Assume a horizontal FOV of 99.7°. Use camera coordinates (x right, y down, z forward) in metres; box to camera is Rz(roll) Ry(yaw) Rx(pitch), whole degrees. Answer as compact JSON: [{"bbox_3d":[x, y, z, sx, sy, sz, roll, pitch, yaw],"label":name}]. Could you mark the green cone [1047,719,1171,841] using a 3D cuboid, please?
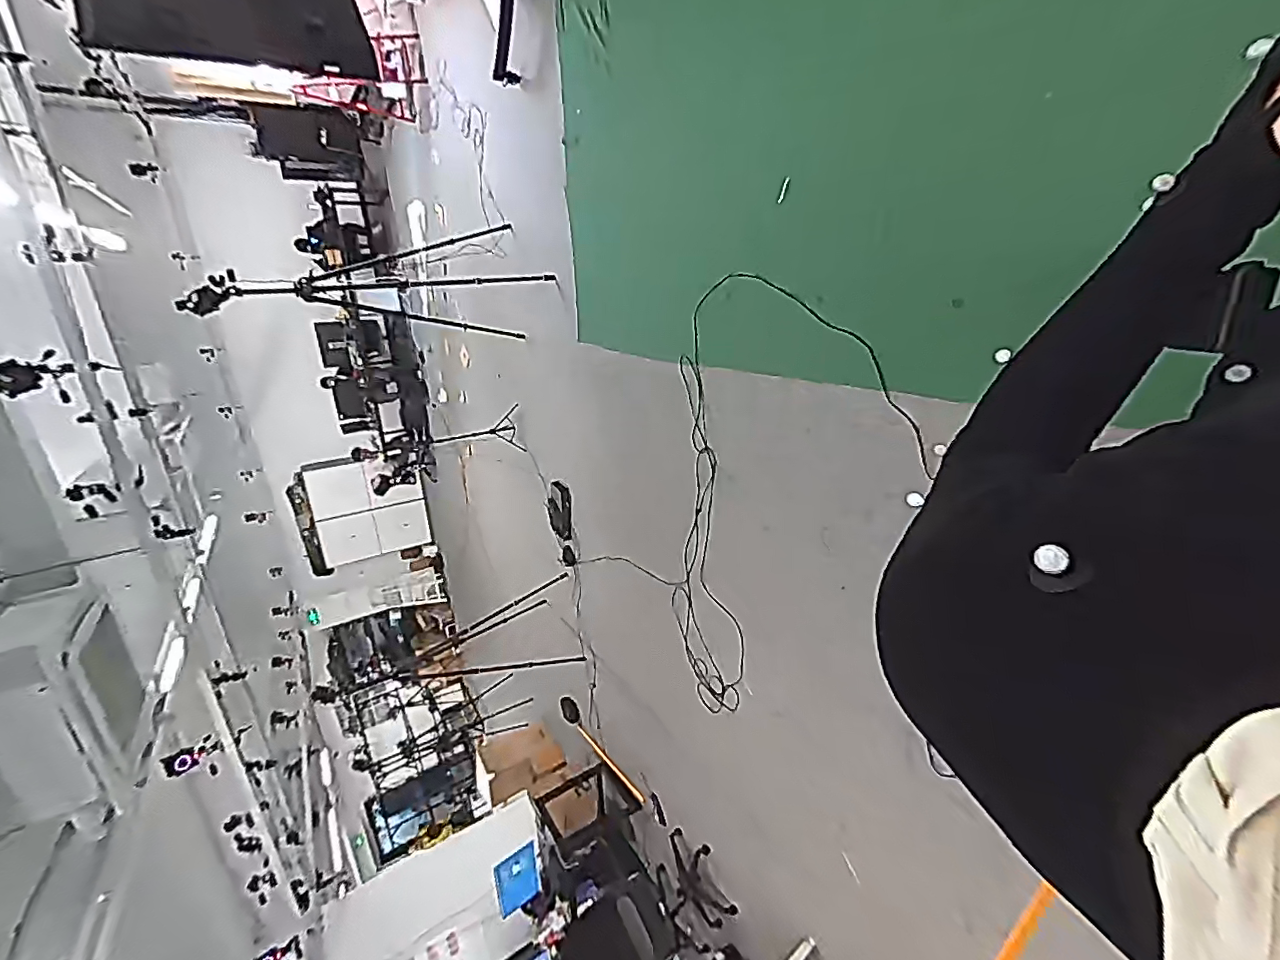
[{"bbox_3d":[1.177,0.826,1.412,0.202,0.368,0.200,26,124,53],"label":"green cone"}]
